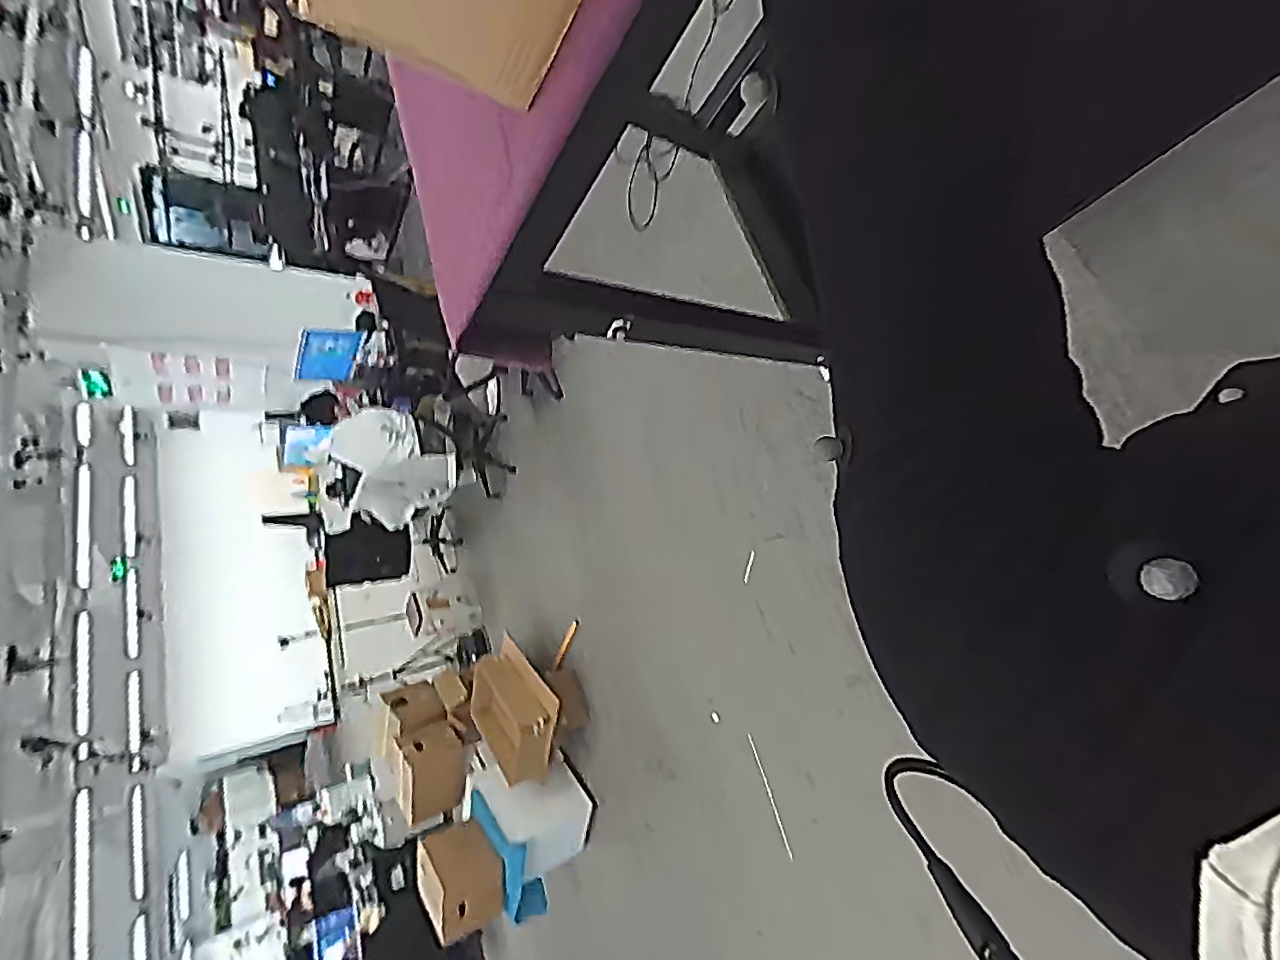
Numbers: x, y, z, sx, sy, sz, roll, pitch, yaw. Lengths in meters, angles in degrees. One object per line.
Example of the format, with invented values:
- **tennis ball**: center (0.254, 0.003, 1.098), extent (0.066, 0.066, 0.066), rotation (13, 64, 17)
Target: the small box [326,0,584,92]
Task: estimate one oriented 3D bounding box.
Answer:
- **small box**: center (-0.116, -0.413, 0.354), extent (0.179, 0.176, 0.168), rotation (-31, 67, 47)
